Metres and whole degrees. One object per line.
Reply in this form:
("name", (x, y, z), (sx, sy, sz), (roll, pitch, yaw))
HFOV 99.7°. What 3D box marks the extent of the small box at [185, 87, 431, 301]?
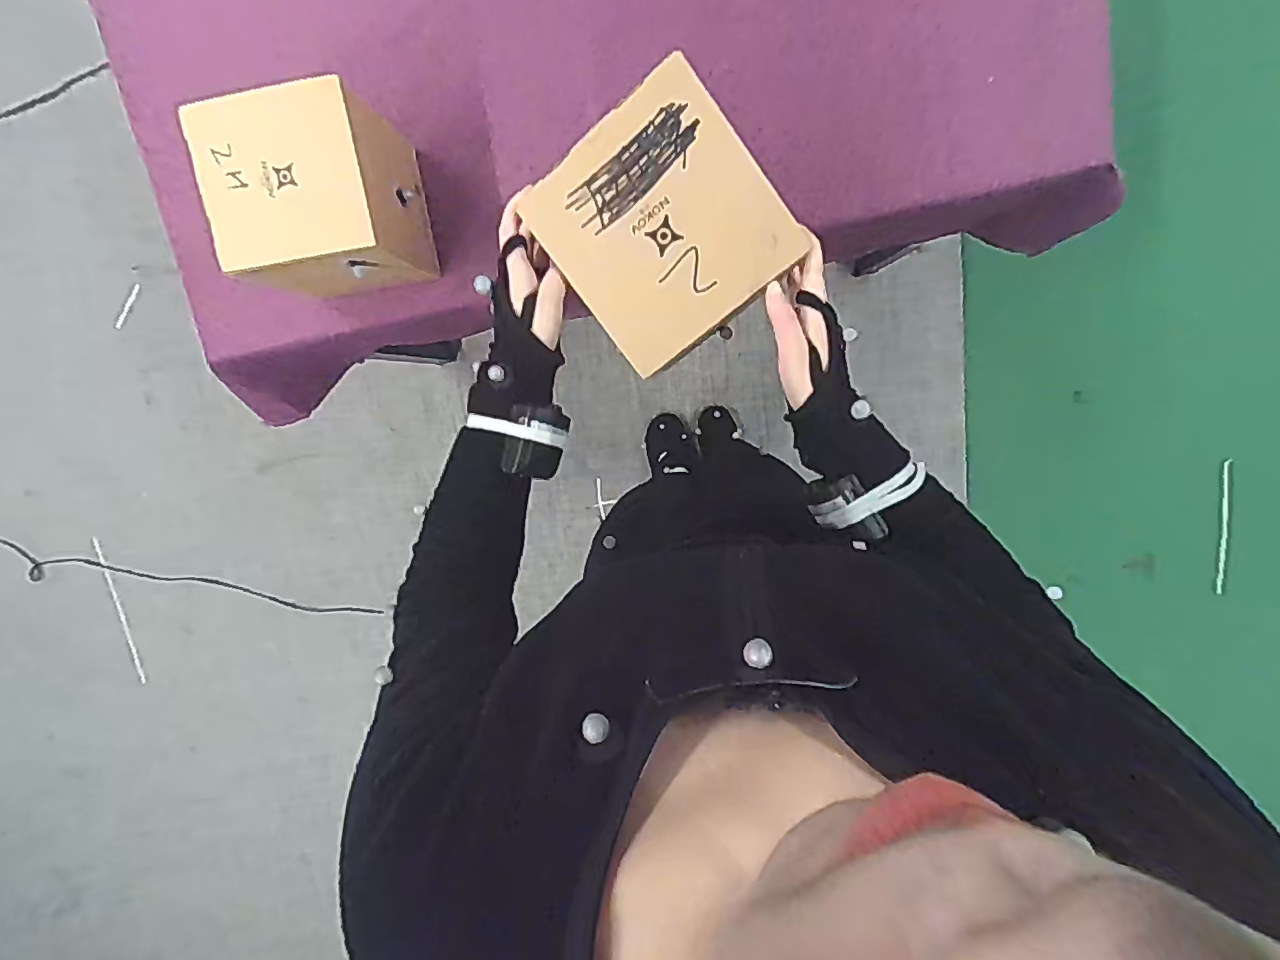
("small box", (-0.368, -0.319, 0.640), (0.179, 0.176, 0.168), (-8, 98, 5))
